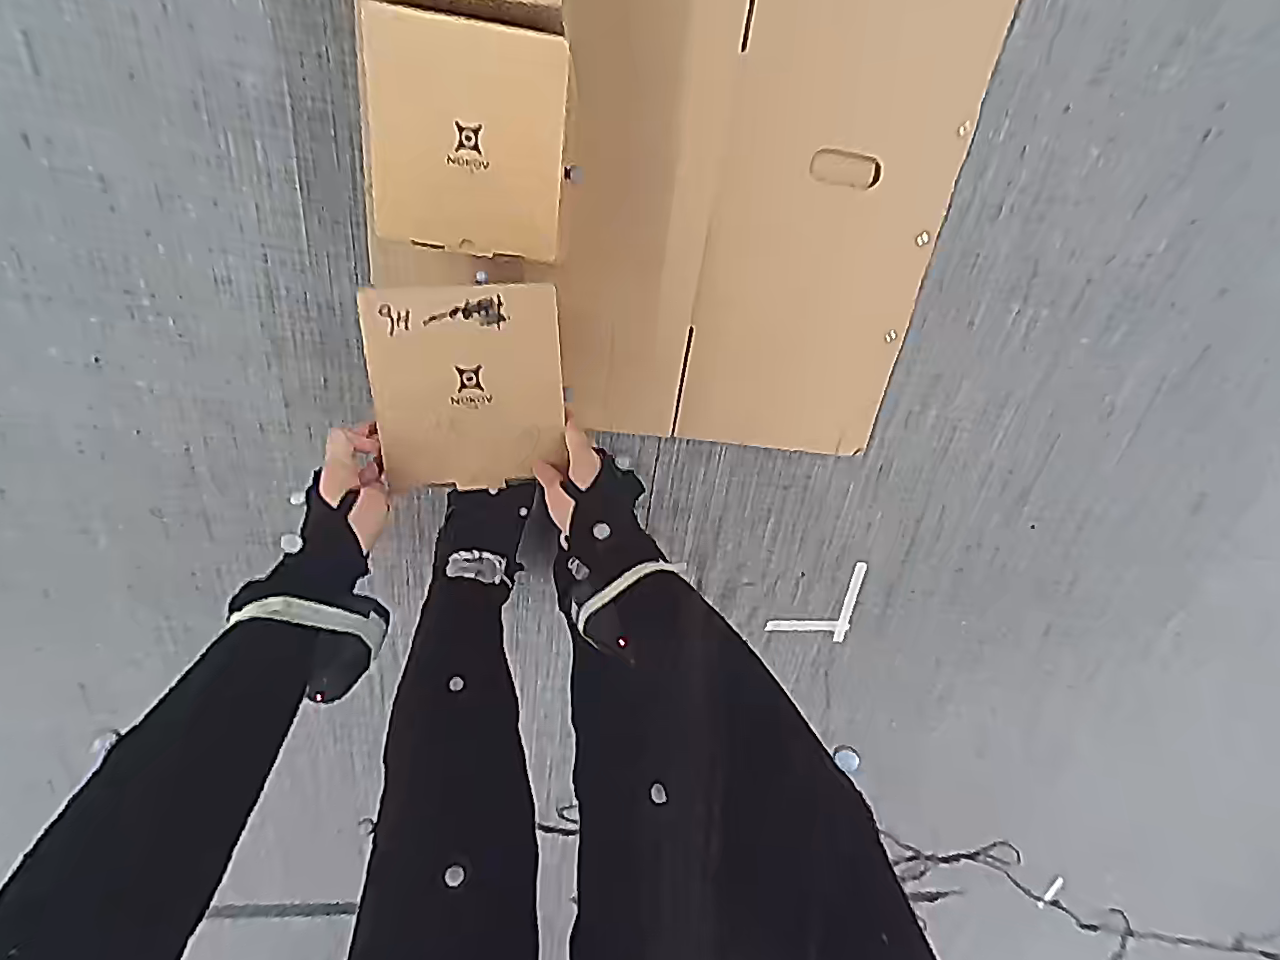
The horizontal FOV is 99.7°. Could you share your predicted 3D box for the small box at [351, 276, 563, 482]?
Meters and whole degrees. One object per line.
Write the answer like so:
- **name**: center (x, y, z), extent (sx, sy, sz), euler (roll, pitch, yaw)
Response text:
- **small box**: center (-0.166, -0.107, 0.548), extent (0.168, 0.176, 0.179), euler (-5, 105, -9)
